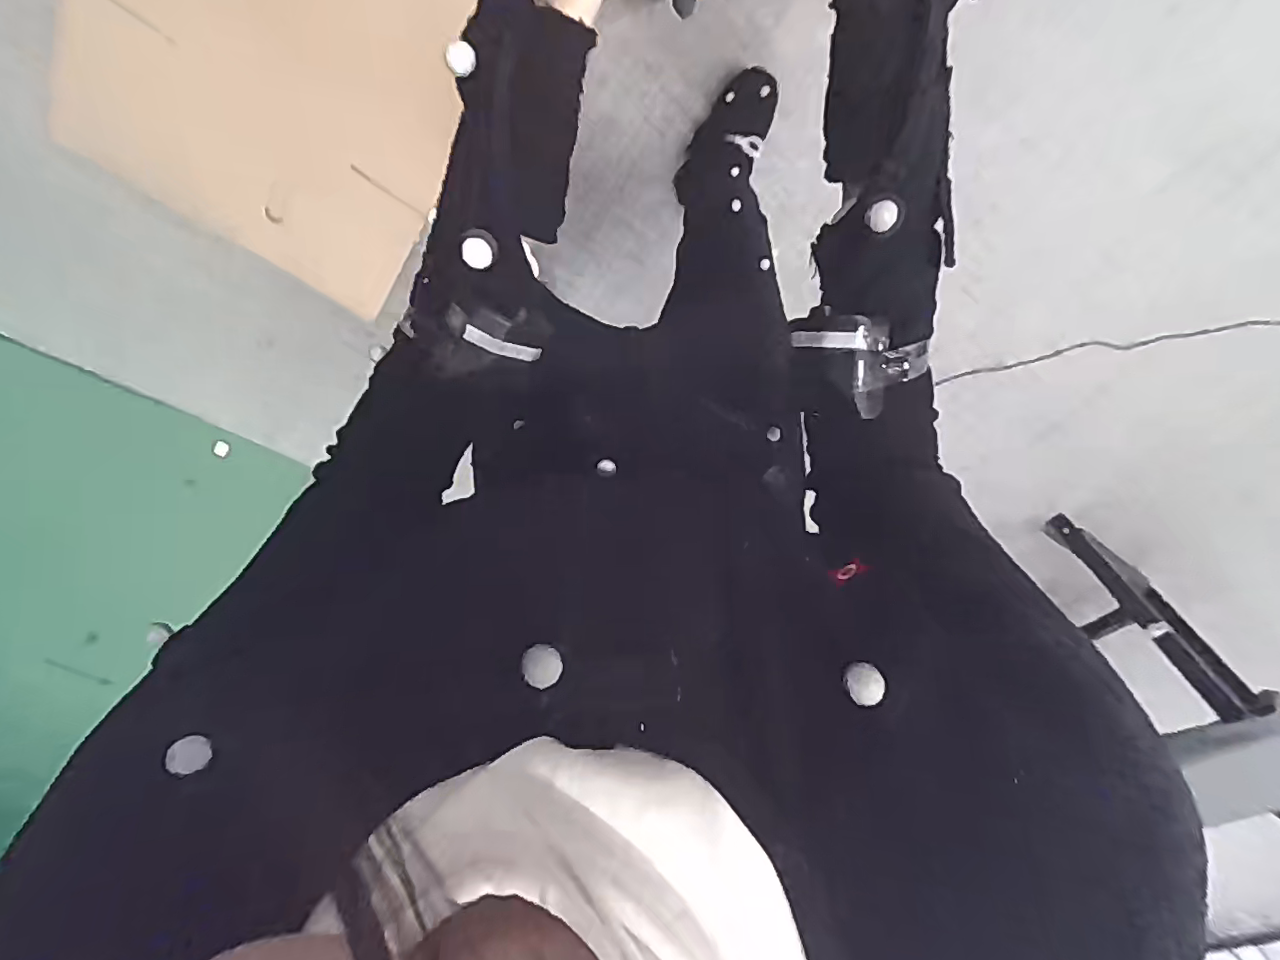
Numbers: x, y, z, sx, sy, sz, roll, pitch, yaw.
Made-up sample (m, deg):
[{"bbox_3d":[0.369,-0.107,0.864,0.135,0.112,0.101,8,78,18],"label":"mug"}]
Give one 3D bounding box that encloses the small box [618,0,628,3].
[{"bbox_3d":[0.027,-0.365,0.258,0.168,0.176,0.179,-8,129,11],"label":"small box"}]
